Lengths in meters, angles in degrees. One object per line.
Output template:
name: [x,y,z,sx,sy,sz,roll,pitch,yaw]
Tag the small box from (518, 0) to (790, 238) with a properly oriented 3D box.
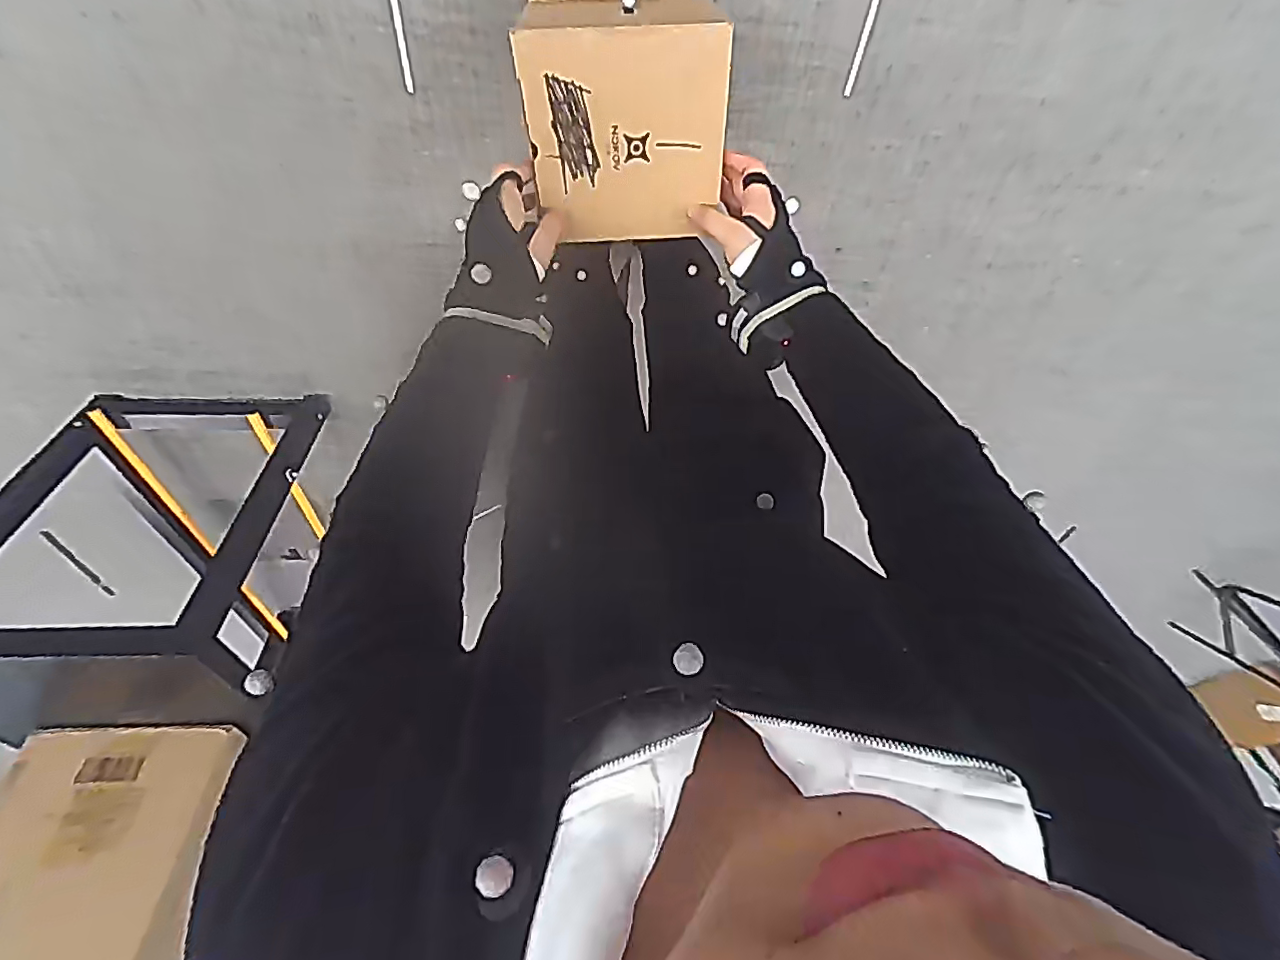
small box: [0.007,-0.320,0.447,0.179,0.176,0.168,-4,138,-2]
